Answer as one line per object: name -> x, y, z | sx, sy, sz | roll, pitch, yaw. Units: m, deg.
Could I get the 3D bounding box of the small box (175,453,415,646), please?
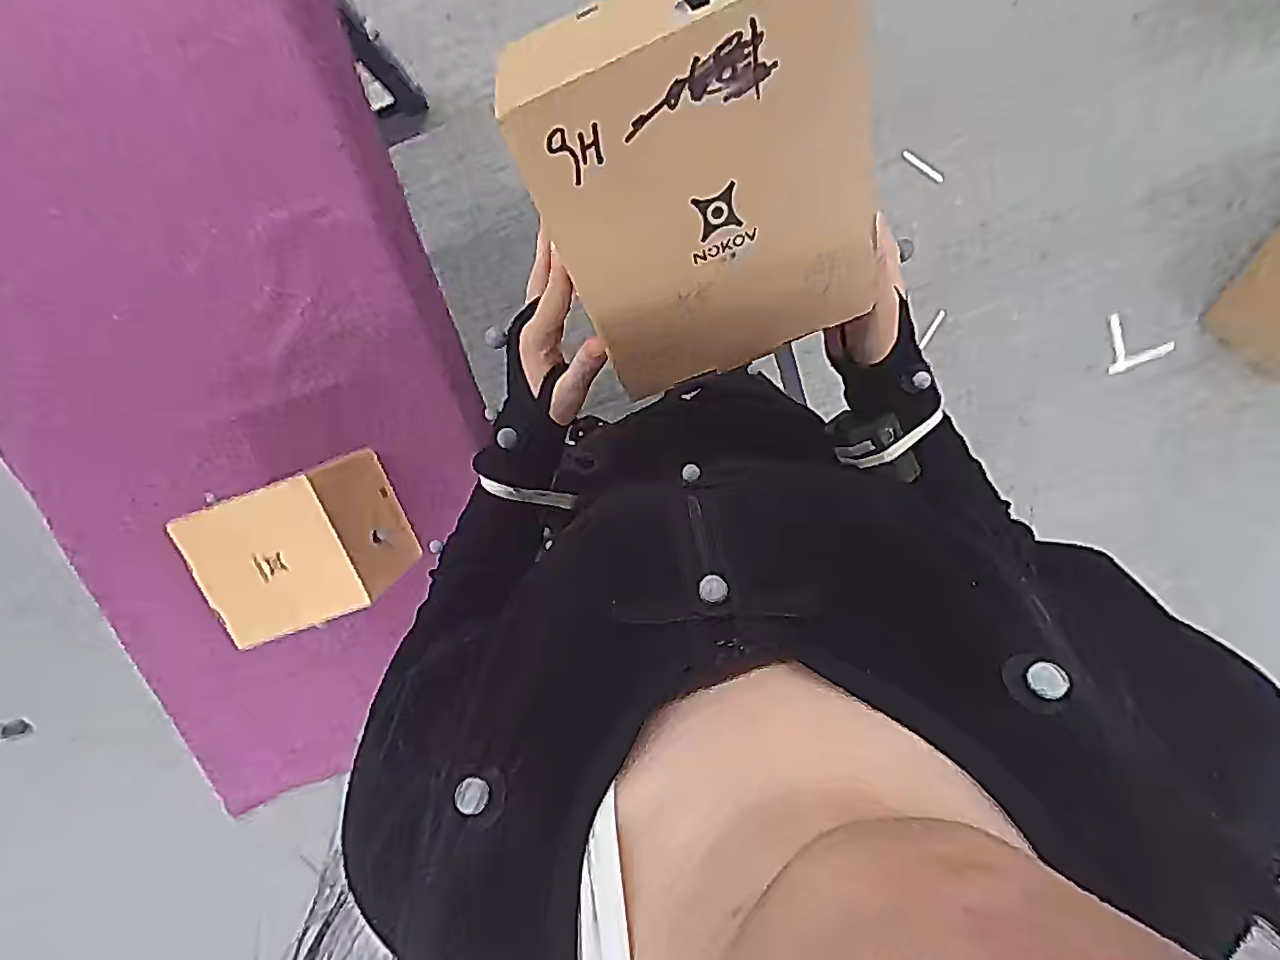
small box -> -0.417, 0.077, 0.697 | 0.179, 0.176, 0.168 | -20, 103, 4

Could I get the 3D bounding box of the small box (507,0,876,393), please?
small box -> 0.031, -0.193, 0.343 | 0.168, 0.176, 0.179 | -20, 136, 7
